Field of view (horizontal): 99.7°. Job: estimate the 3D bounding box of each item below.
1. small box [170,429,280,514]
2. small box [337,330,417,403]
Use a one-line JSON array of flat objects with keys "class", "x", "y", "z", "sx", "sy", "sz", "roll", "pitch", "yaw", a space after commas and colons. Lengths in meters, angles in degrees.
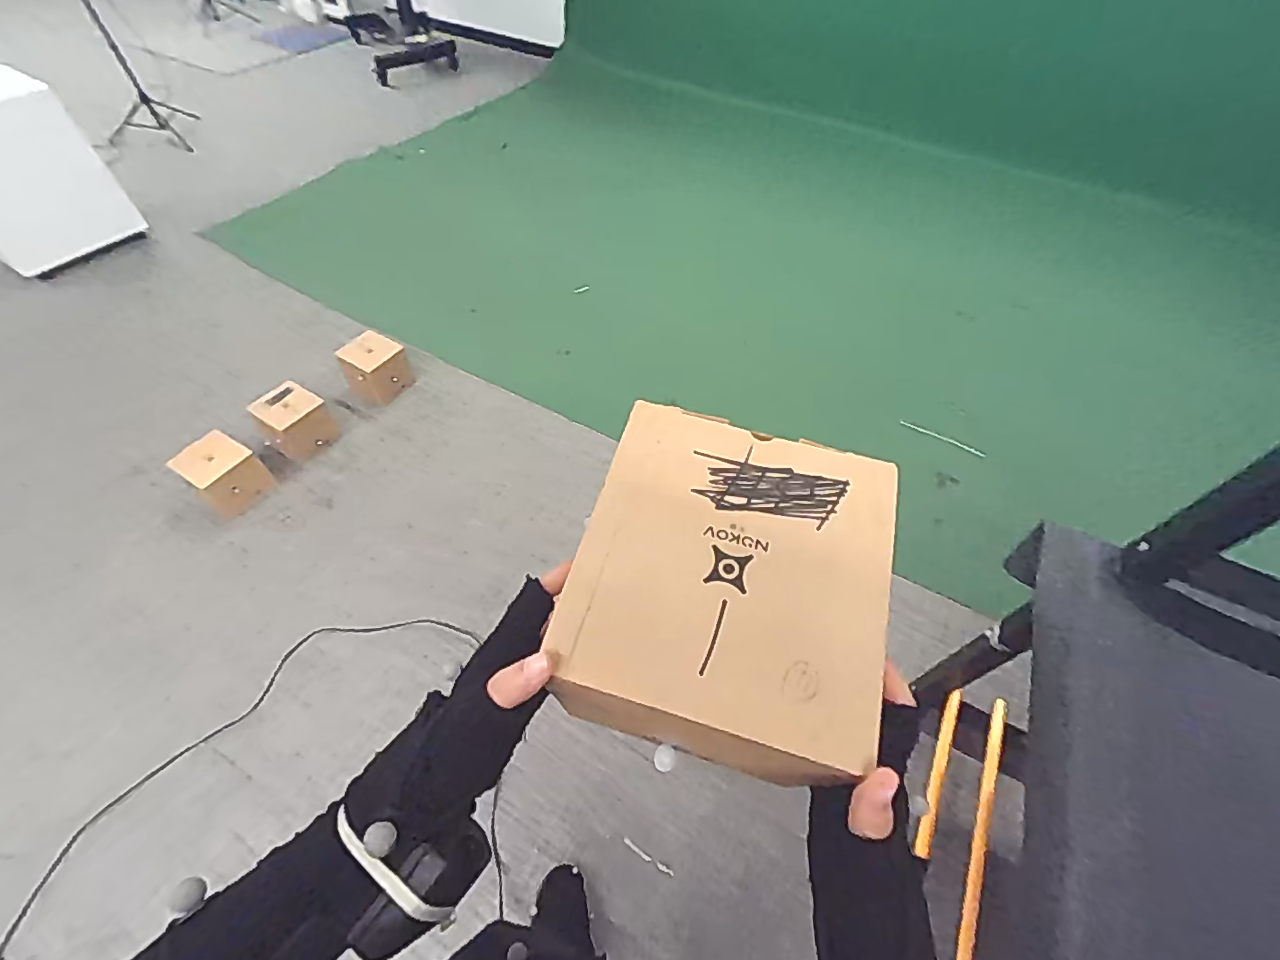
[{"class": "small box", "x": -1.267, "y": -0.018, "z": 1.665, "sx": 0.179, "sy": 0.176, "sz": 0.168, "roll": 26, "pitch": 57, "yaw": 16}, {"class": "small box", "x": -0.951, "y": -0.408, "z": 1.975, "sx": 0.179, "sy": 0.176, "sz": 0.168, "roll": 27, "pitch": 56, "yaw": 16}]
